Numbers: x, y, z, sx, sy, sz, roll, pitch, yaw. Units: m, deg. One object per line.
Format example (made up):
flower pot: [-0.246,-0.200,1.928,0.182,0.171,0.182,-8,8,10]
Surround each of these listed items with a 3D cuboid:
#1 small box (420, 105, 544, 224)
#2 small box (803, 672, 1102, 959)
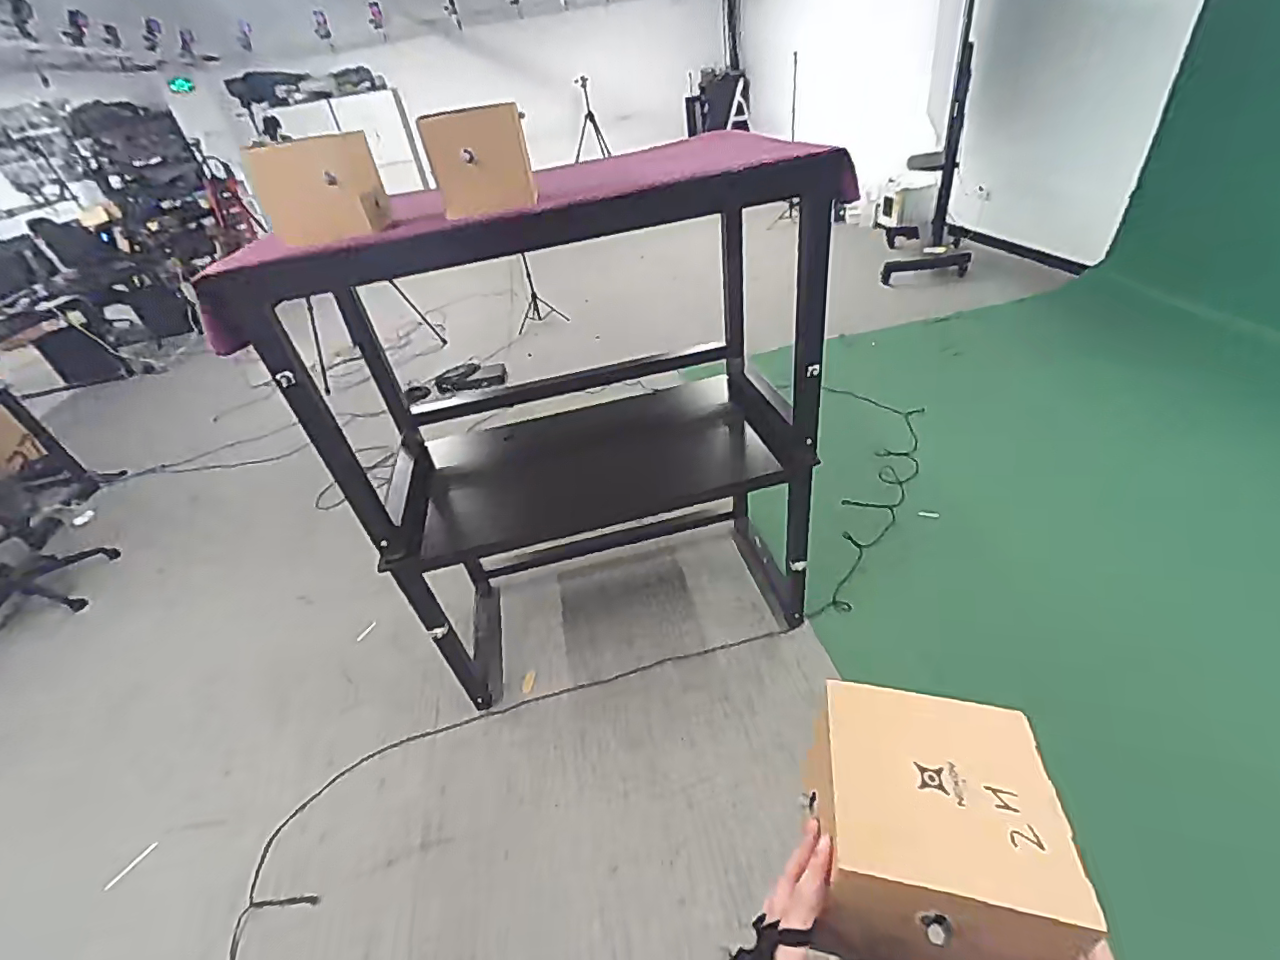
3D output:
small box: [-0.297,-0.614,1.054,0.179,0.176,0.168,-12,36,-1]
small box: [0.243,0.303,0.480,0.179,0.176,0.168,7,35,12]
